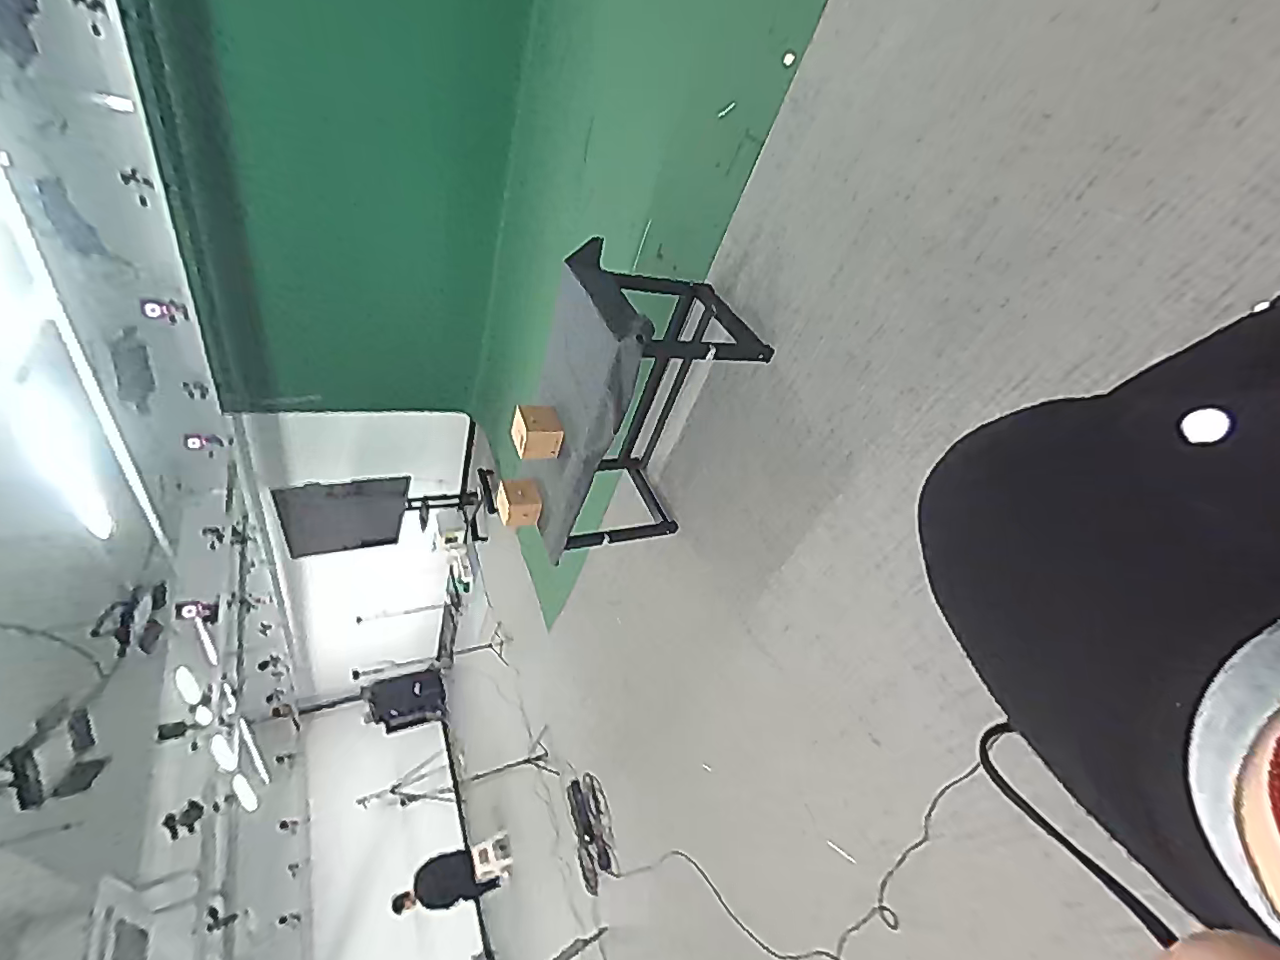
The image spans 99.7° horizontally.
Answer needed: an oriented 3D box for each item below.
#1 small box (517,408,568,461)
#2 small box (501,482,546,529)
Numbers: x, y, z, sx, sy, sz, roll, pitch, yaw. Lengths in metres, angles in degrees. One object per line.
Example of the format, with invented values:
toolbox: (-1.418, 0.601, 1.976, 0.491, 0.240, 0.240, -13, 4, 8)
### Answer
small box: (-0.431, -0.205, 2.397, 0.179, 0.176, 0.168, 64, 144, 35)
small box: (-0.581, 0.120, 2.708, 0.179, 0.176, 0.168, 61, 141, 35)
